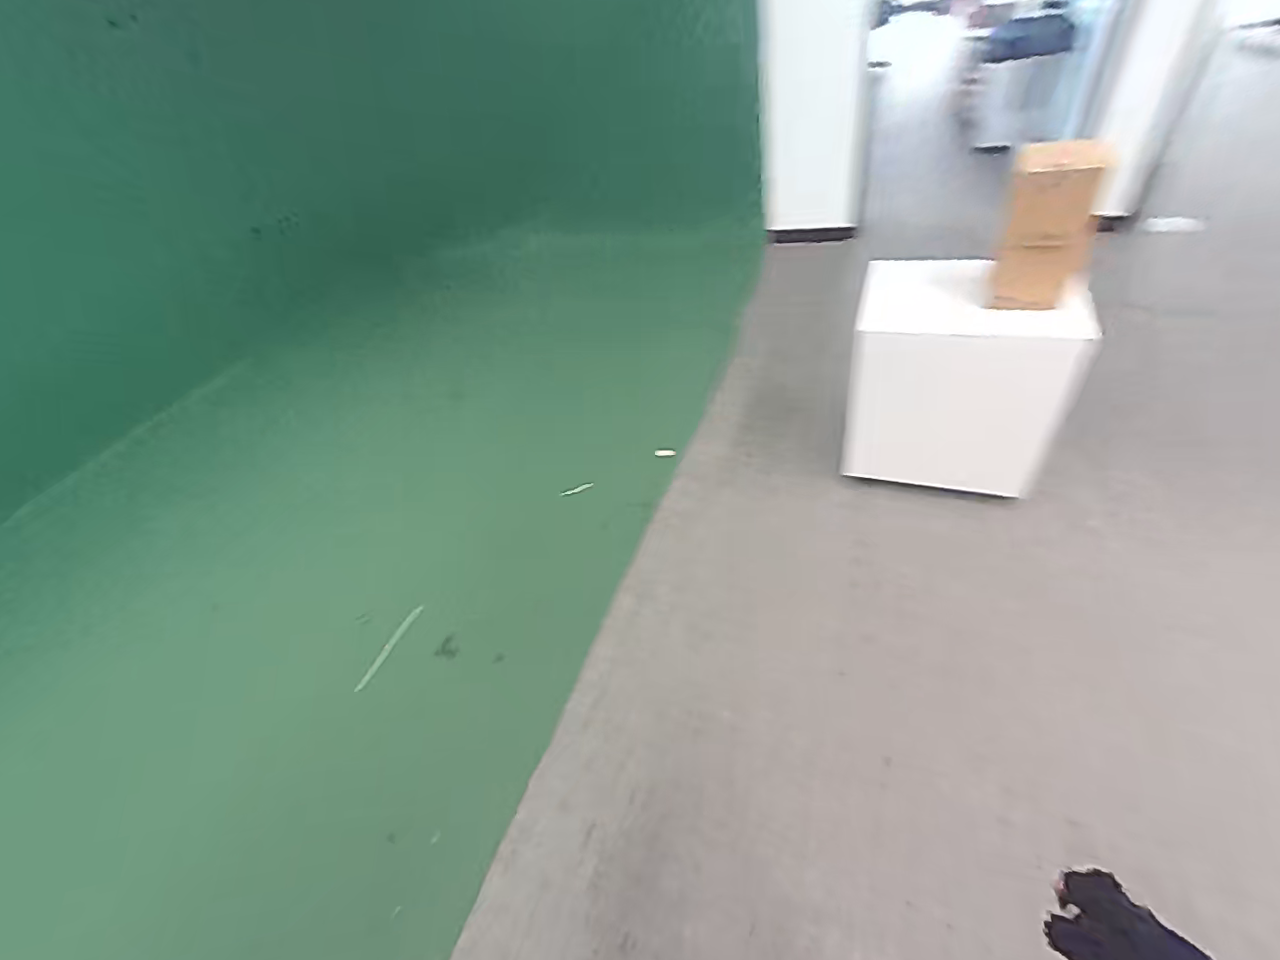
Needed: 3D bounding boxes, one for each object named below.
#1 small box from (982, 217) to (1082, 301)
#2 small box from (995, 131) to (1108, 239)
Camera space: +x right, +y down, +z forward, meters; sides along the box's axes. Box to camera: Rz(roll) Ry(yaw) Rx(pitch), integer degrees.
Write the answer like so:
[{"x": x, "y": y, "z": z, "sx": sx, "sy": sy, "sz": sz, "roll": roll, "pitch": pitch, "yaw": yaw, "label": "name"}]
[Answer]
[{"x": 0.972, "y": -0.563, "z": 1.356, "sx": 0.168, "sy": 0.176, "sz": 0.179, "roll": 8, "pitch": 49, "yaw": 23, "label": "small box"}, {"x": 0.931, "y": -0.673, "z": 1.242, "sx": 0.168, "sy": 0.176, "sz": 0.179, "roll": 9, "pitch": 49, "yaw": 24, "label": "small box"}]
